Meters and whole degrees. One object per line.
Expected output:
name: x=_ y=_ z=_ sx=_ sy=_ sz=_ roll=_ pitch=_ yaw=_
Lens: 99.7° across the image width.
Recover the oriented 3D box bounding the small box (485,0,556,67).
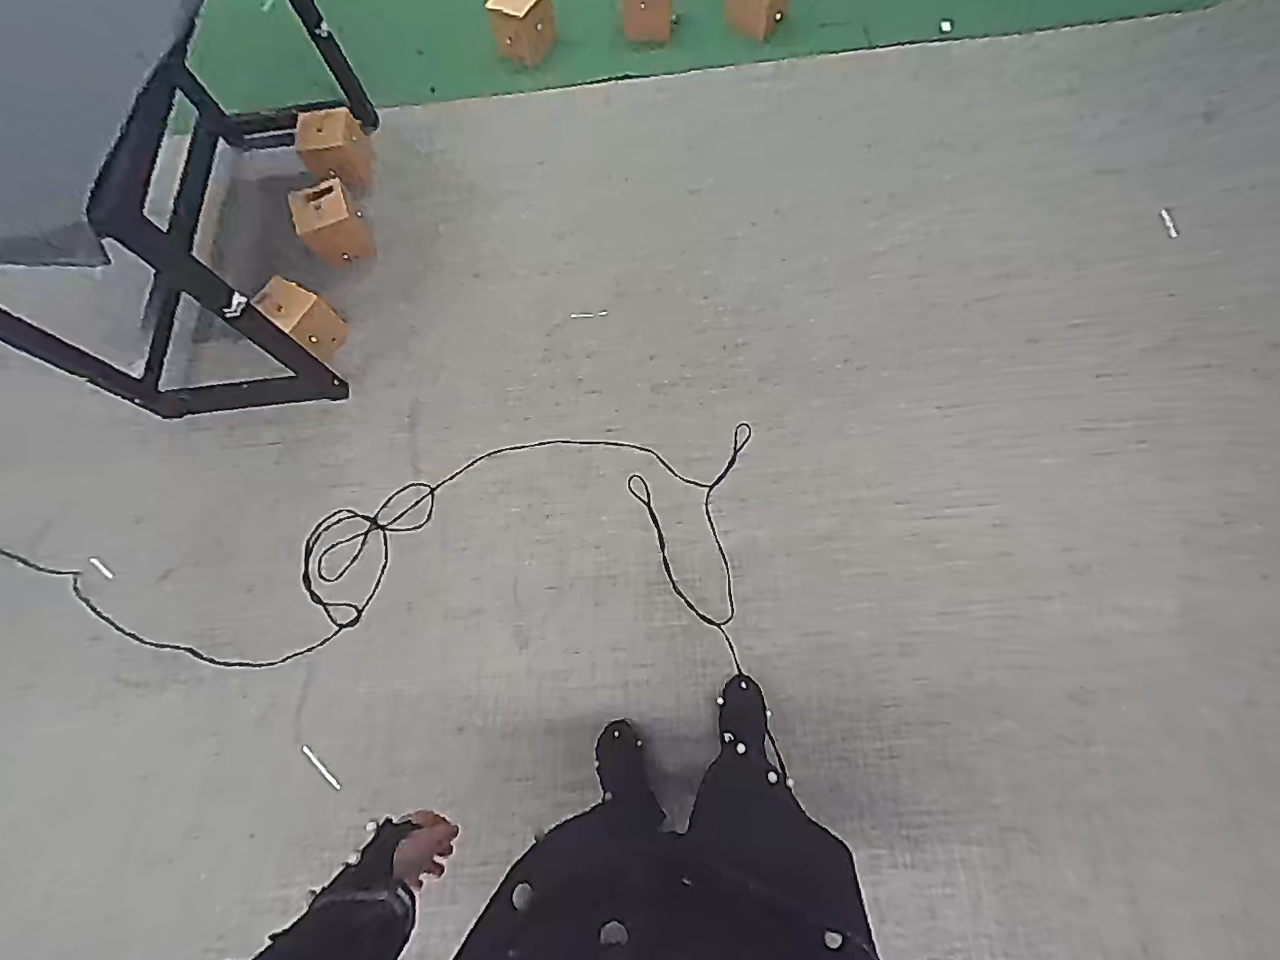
small box: x=-0.432 y=-1.678 z=1.994 sx=0.168 sy=0.176 sz=0.179 roll=28 pitch=76 yaw=13

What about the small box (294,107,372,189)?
small box: x=-1.040 y=-1.123 z=1.845 sx=0.168 sy=0.176 sz=0.179 roll=-6 pitch=71 yaw=1

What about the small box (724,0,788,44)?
small box: x=0.422 y=-1.731 z=1.953 sx=0.179 sy=0.176 sz=0.168 roll=36 pitch=77 yaw=13

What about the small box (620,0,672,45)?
small box: x=0.024 y=-1.741 z=1.984 sx=0.179 sy=0.176 sz=0.168 roll=4 pitch=73 yaw=4

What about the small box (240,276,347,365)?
small box: x=-1.033 y=-0.472 z=1.630 sx=0.179 sy=0.176 sz=0.168 roll=27 pitch=75 yaw=13
